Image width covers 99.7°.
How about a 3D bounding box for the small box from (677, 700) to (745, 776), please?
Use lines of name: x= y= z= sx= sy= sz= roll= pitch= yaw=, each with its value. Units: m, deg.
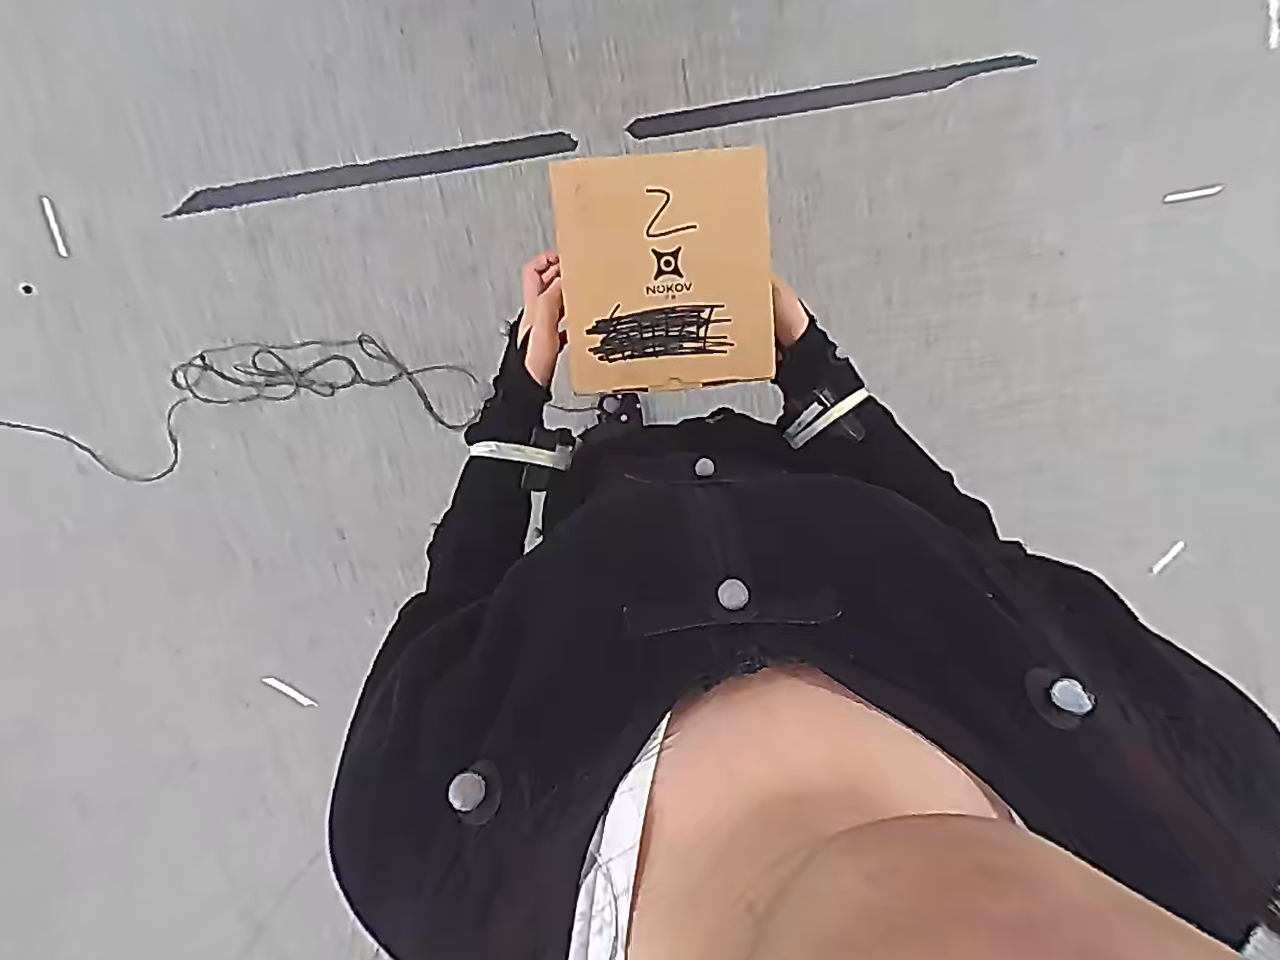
small box: x=0.200 y=0.758 z=1.560 sx=0.179 sy=0.176 sz=0.168 roll=-4 pitch=99 yaw=-3
